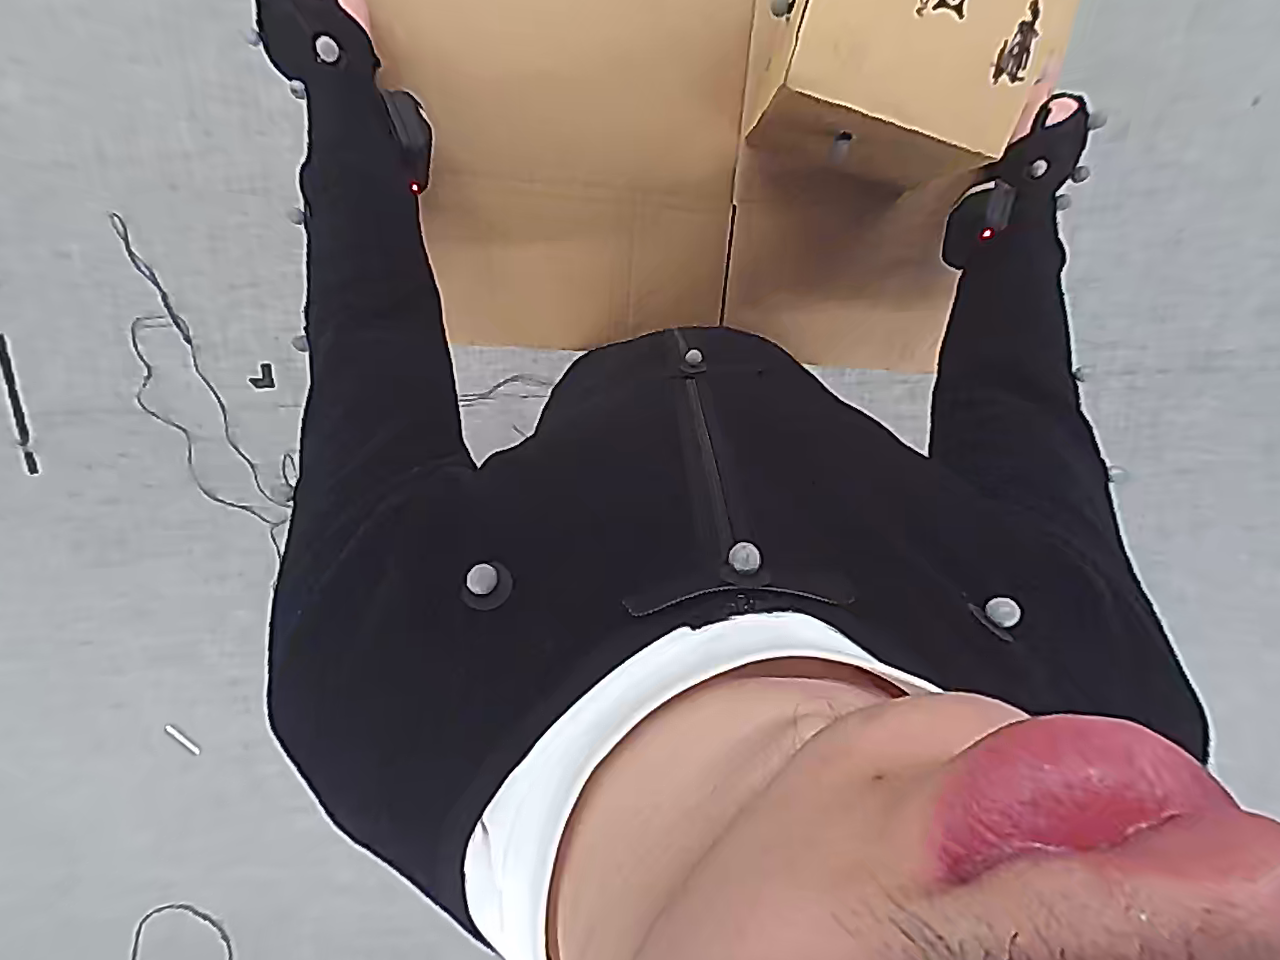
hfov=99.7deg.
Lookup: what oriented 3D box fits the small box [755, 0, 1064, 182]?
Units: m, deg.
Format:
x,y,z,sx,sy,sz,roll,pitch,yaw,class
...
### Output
x,y,z,sx,sy,sz,roll,pitch,yaw,class
0.210,-0.369,0.451,0.179,0.176,0.168,16,110,-3,small box
